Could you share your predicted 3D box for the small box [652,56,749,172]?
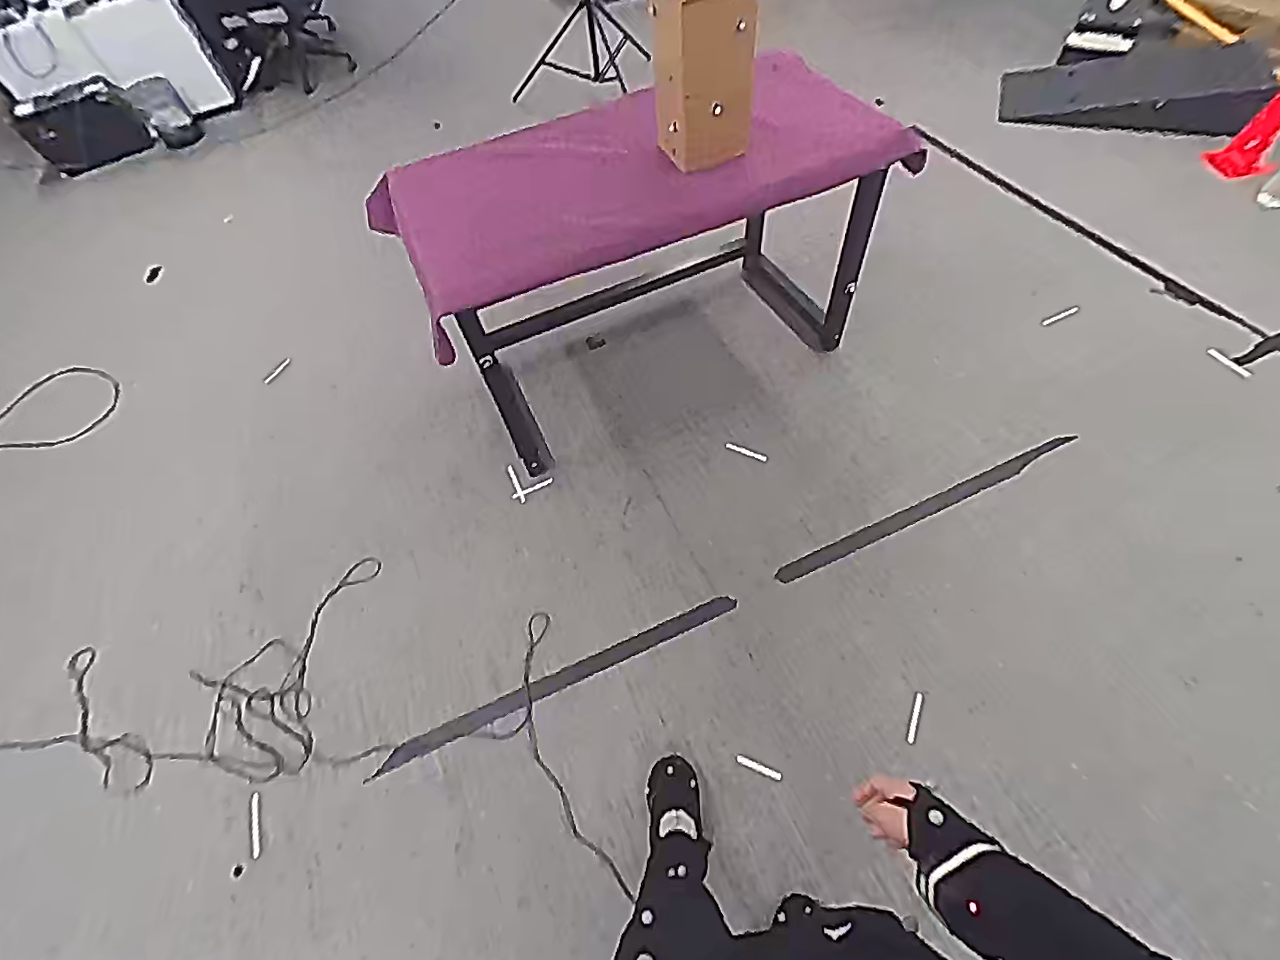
[{"bbox_3d":[0.145,-0.879,1.307,0.179,0.176,0.168,-22,59,-8],"label":"small box"}]
